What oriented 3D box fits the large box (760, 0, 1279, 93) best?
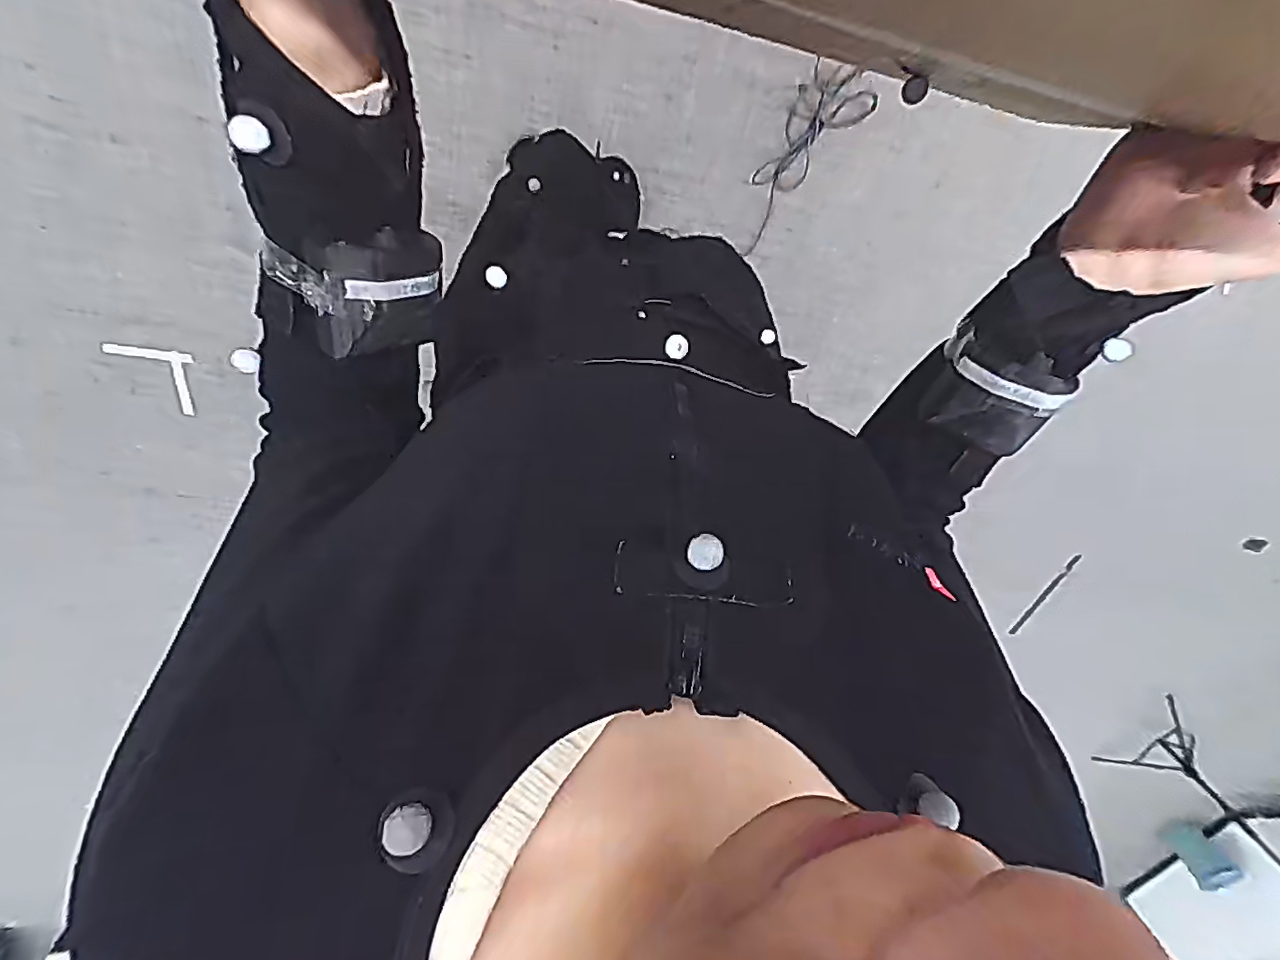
[{"bbox_3d":[0.110,-0.323,0.121,0.408,0.320,0.320,7,127,-9],"label":"large box"}]
